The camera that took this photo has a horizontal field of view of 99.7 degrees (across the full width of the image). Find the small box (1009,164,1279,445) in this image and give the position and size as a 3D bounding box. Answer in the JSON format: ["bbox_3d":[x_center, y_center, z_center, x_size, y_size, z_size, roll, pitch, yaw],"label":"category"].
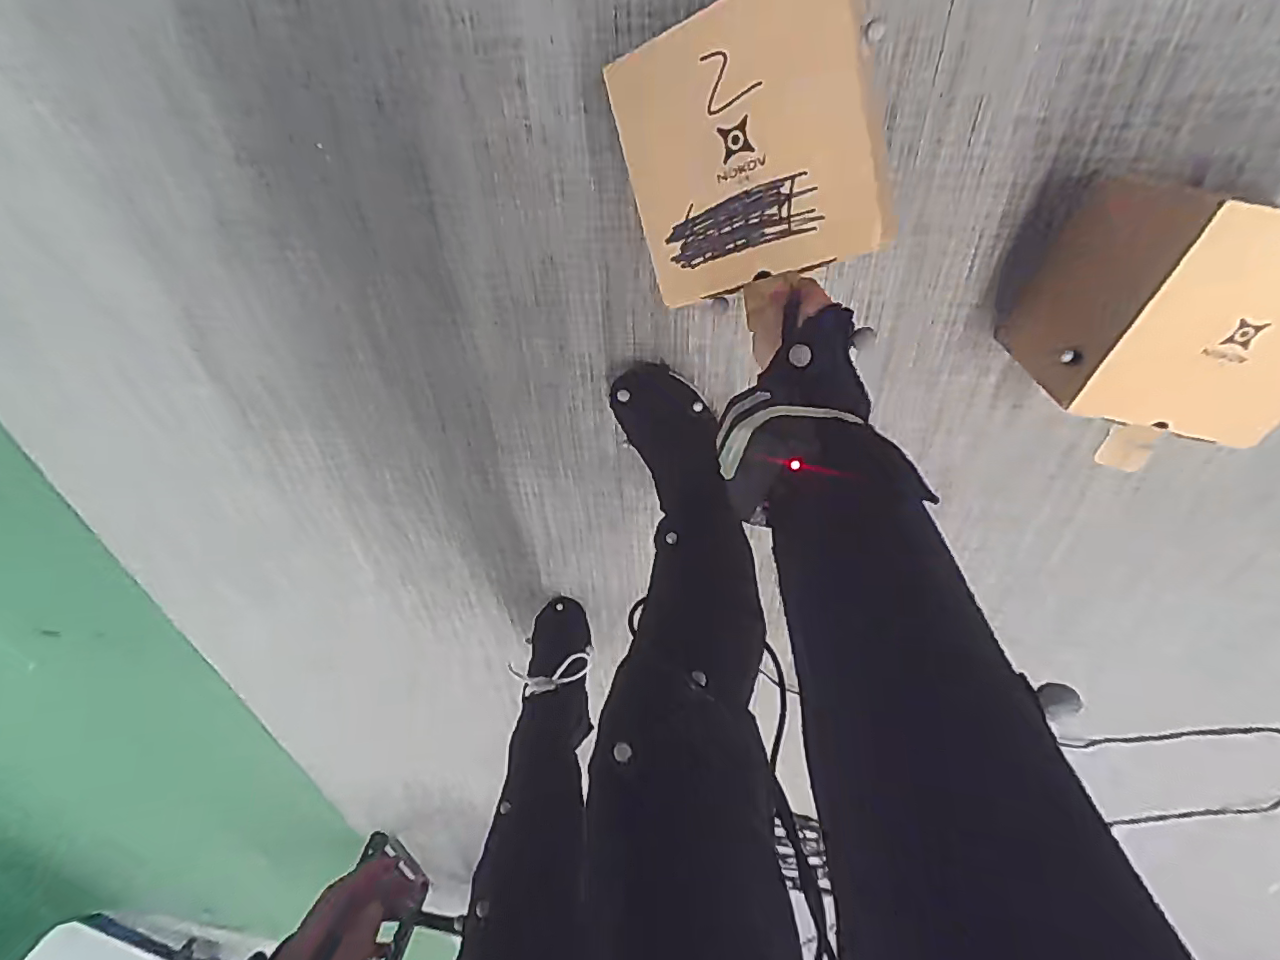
[{"bbox_3d":[0.475,-0.161,0.478,0.168,0.176,0.179,12,128,1],"label":"small box"}]
